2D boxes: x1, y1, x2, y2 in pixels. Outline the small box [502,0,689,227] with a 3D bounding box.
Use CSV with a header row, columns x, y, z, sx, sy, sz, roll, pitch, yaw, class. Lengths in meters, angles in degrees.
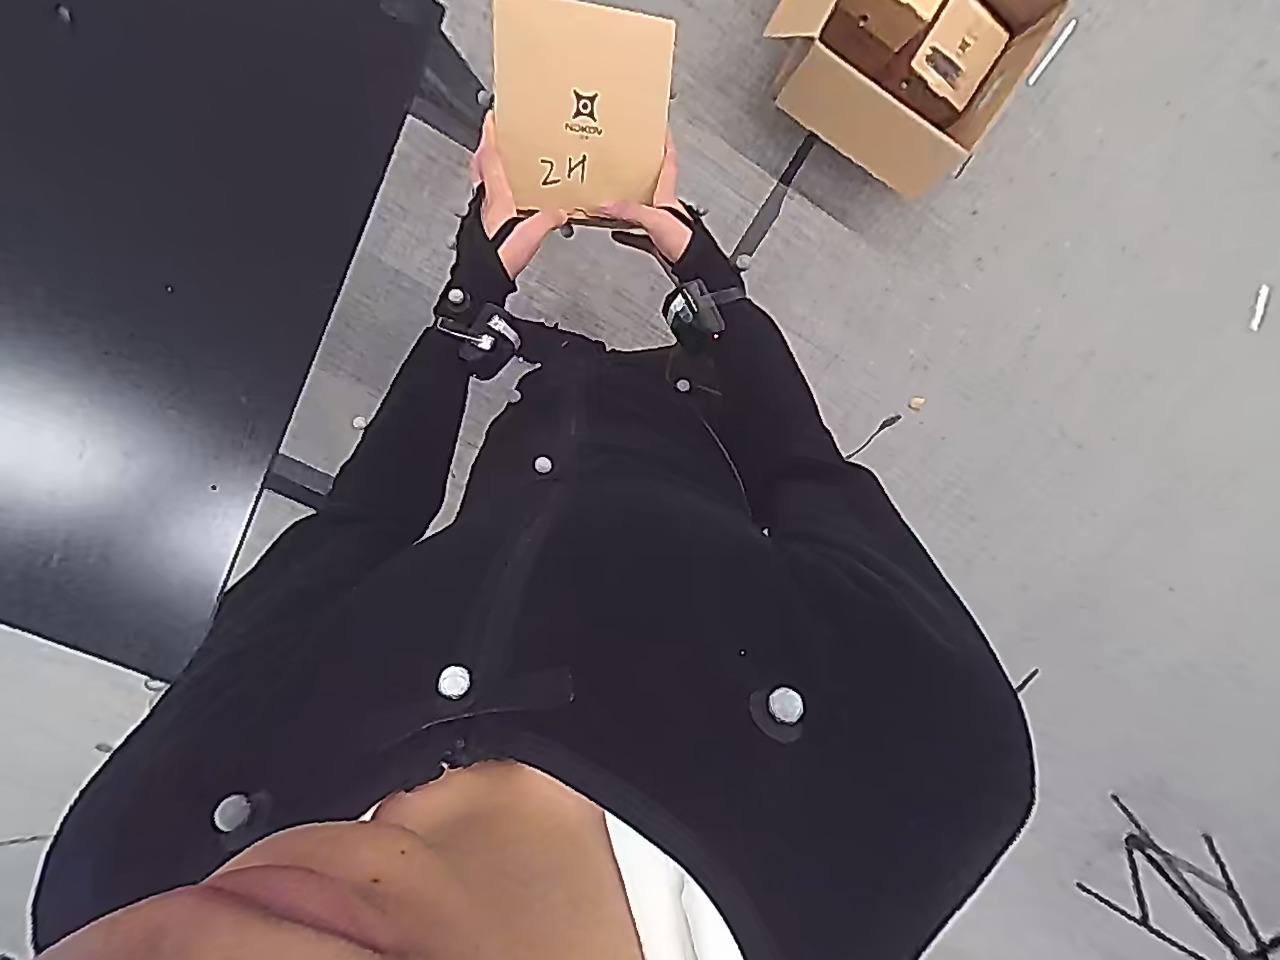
x,y,z,sx,sy,sz,roll,pitch,yaw,class
-0.060,-0.375,0.573,0.168,0.176,0.179,1,114,-14,small box
